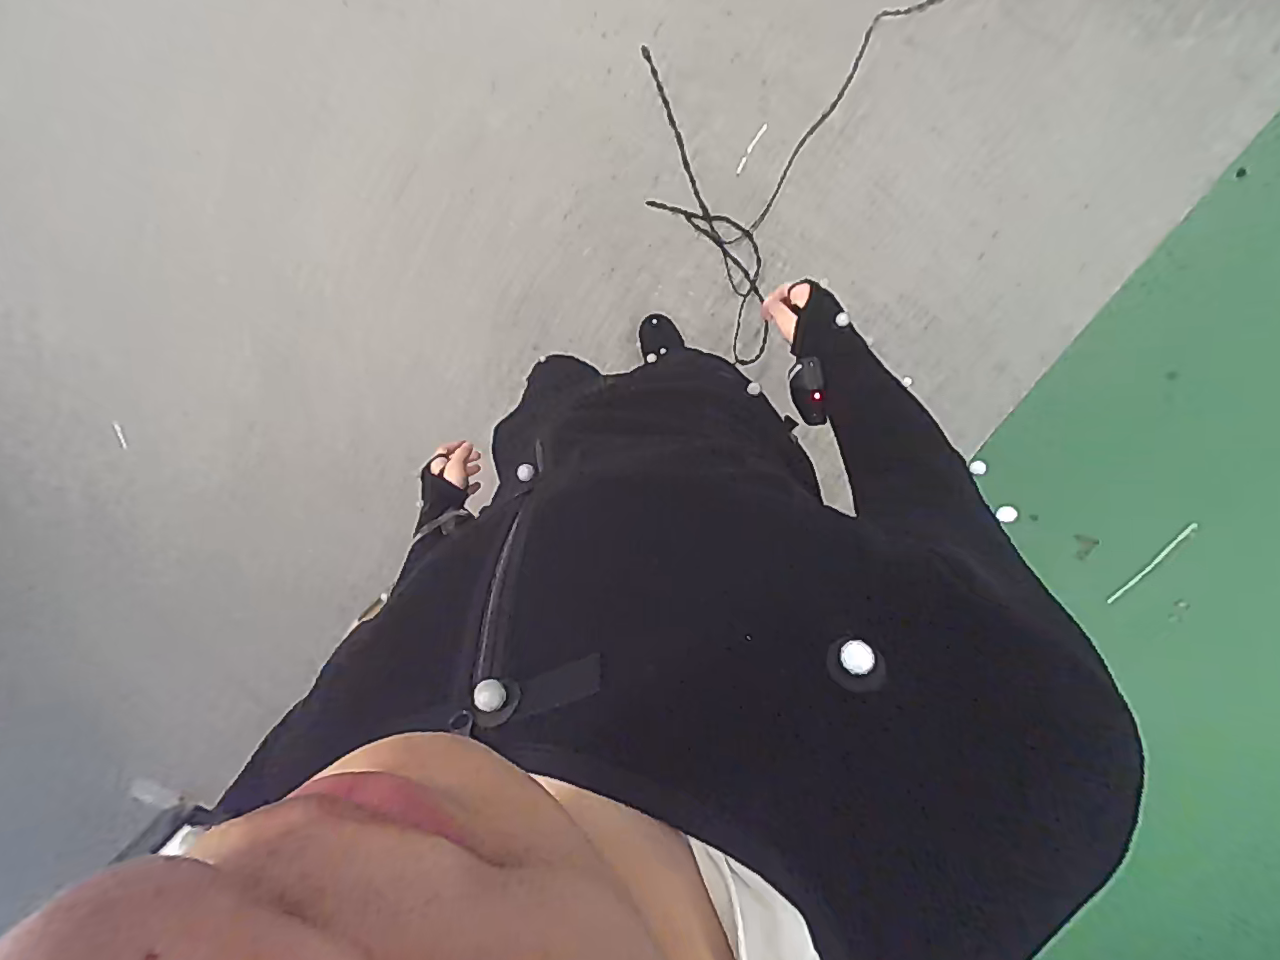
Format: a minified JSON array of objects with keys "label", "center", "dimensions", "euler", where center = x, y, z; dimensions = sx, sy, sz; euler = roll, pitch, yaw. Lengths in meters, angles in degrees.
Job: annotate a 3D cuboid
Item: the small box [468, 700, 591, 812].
[{"label":"small box","center":[-0.217,0.598,1.111],"dimensions":[0.168,0.176,0.179],"euler":[32,111,-6]}]
